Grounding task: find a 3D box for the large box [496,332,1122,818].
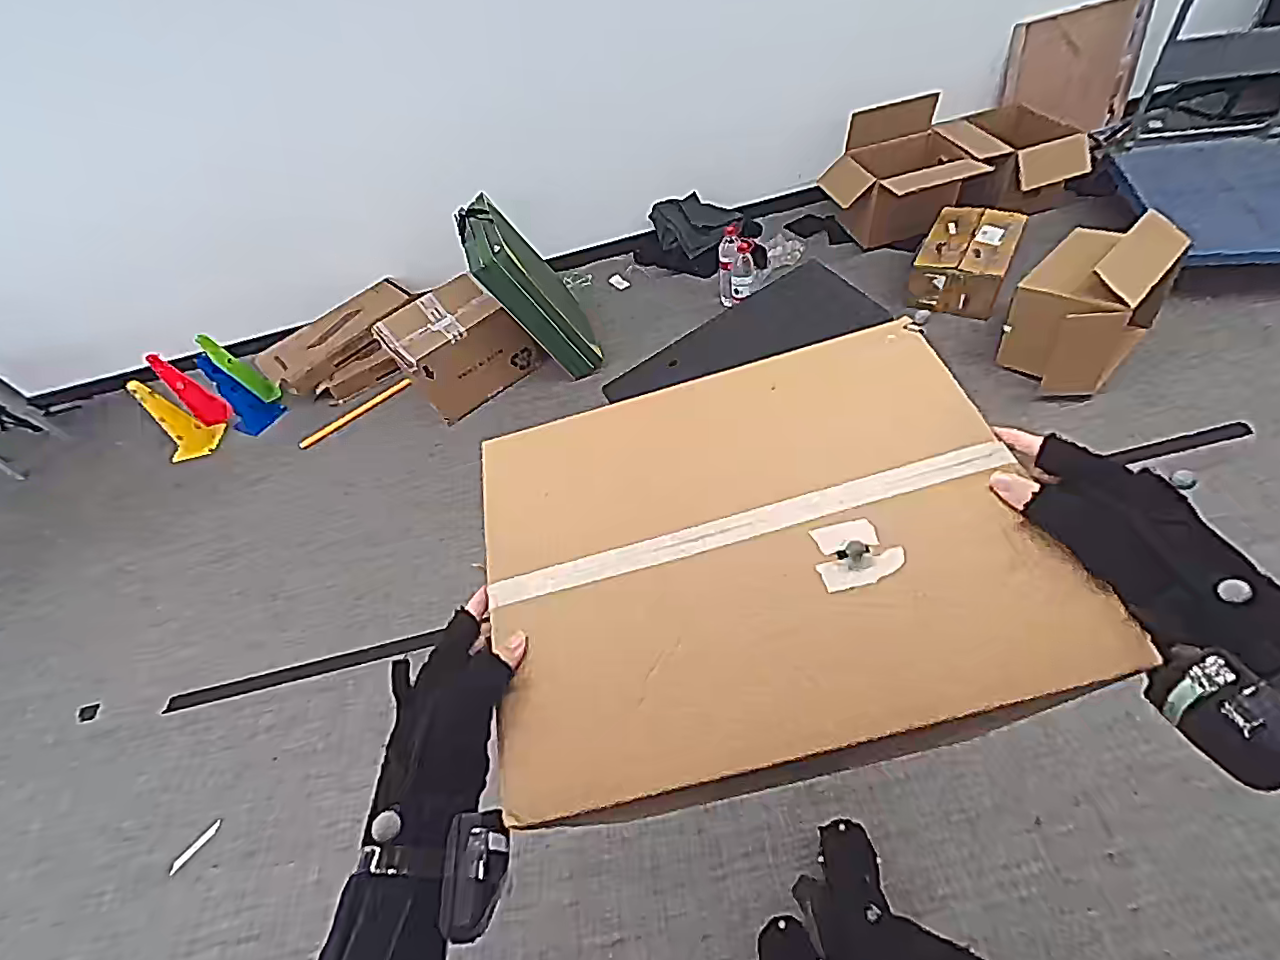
[{"bbox_3d":[0.110,0.117,0.550,0.408,0.320,0.320,-16,57,2],"label":"large box"}]
